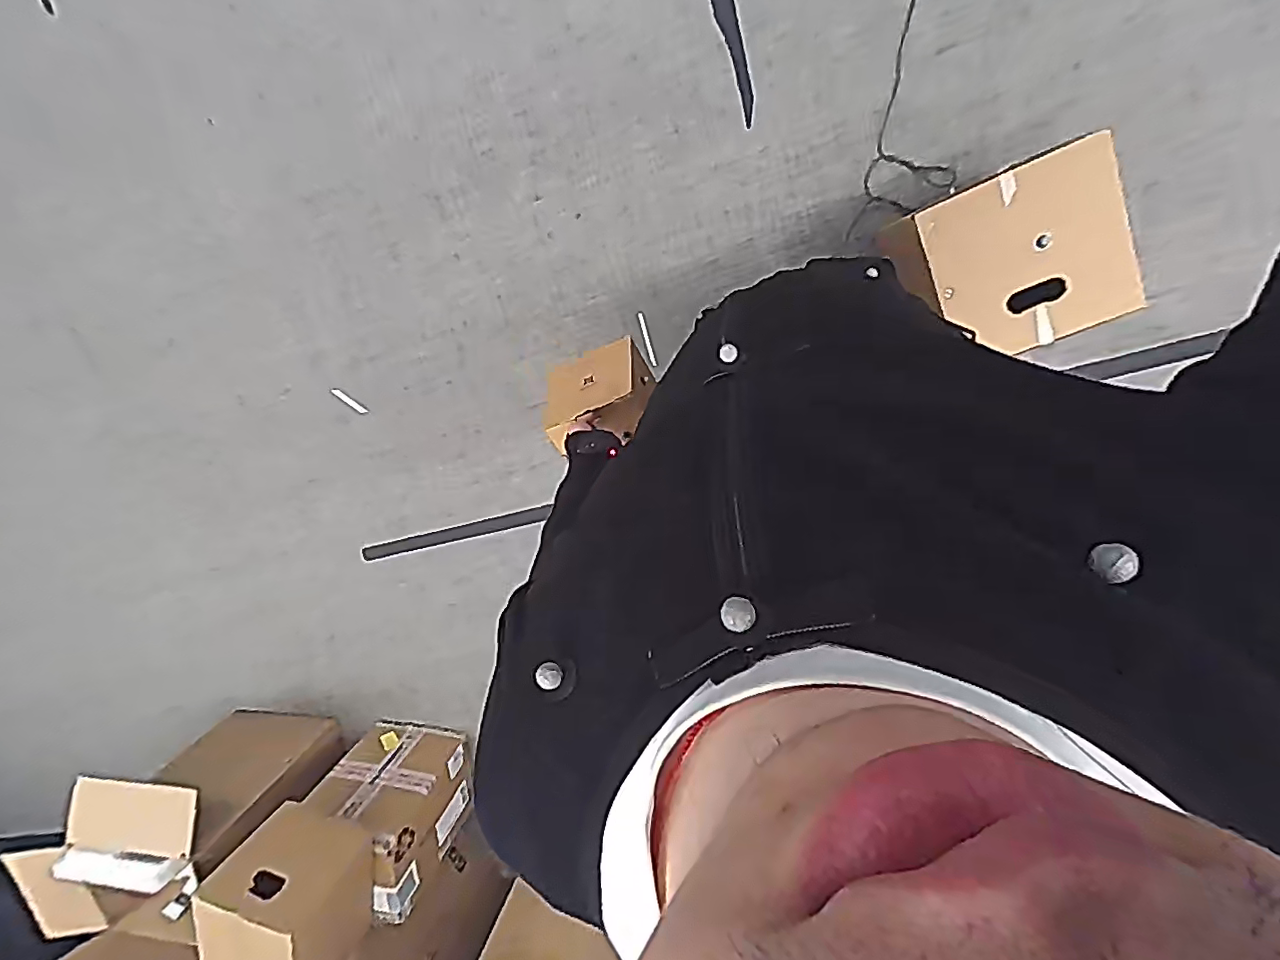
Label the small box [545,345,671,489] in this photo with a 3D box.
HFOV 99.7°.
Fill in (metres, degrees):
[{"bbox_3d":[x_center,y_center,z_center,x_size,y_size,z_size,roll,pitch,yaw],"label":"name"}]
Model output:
[{"bbox_3d":[-0.051,-0.104,0.980,0.168,0.179,0.176,-20,131,17],"label":"small box"}]
